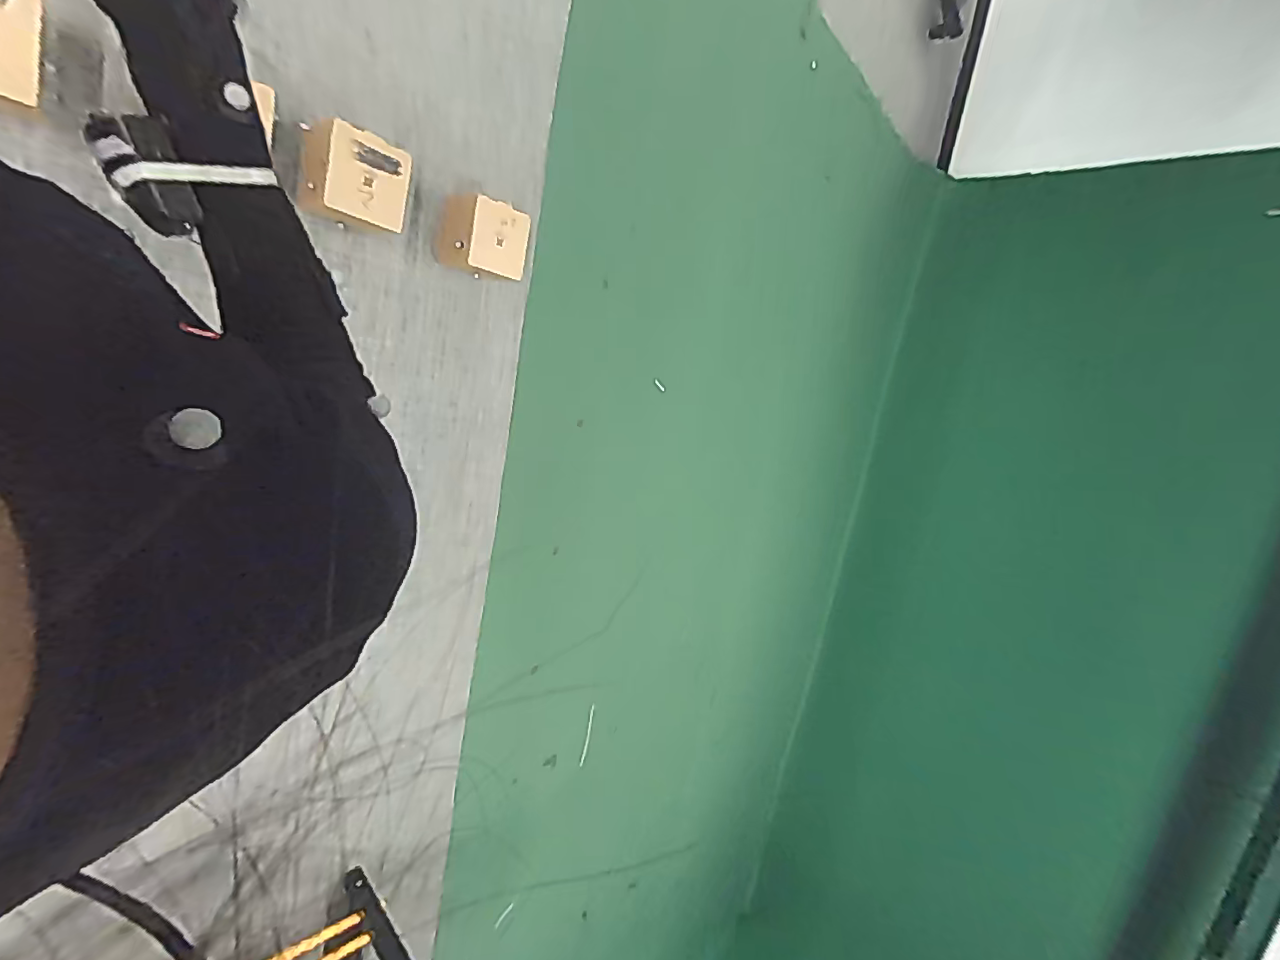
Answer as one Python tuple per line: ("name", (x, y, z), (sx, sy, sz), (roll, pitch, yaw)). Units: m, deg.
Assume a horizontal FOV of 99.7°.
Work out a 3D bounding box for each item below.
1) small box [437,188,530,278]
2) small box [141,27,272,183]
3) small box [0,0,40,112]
("small box", (-0.426, -0.659, 1.458), (0.168, 0.176, 0.179), (1, 105, -49))
("small box", (-0.814, -0.683, 1.014), (0.168, 0.176, 0.179), (0, 104, -48))
("small box", (-1.009, -0.684, 0.794), (0.168, 0.176, 0.179), (3, 104, -48))
